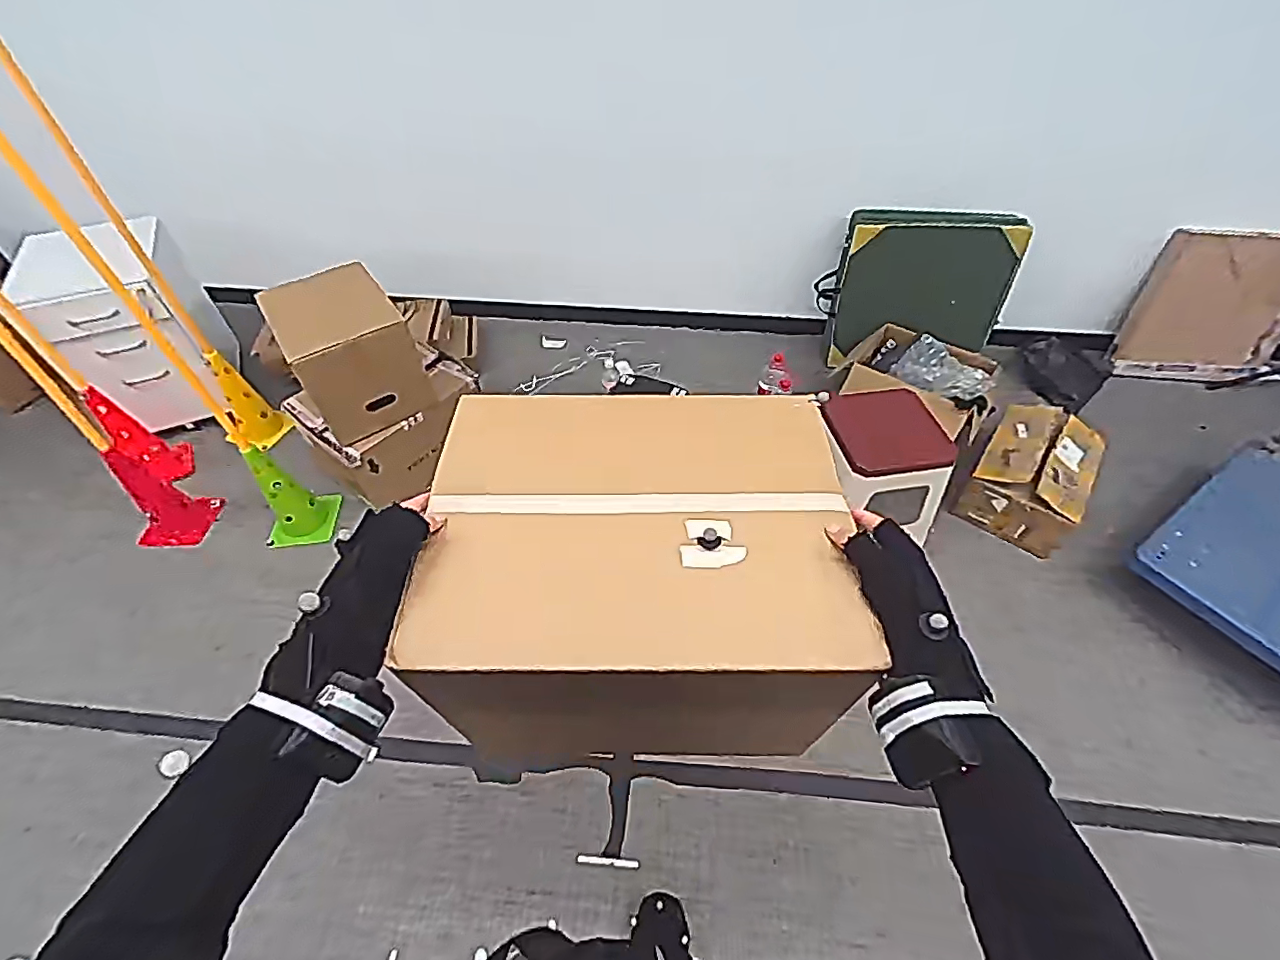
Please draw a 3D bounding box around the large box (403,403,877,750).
[{"bbox_3d":[-0.002,0.122,0.653,0.408,0.320,0.320,1,52,0],"label":"large box"}]
